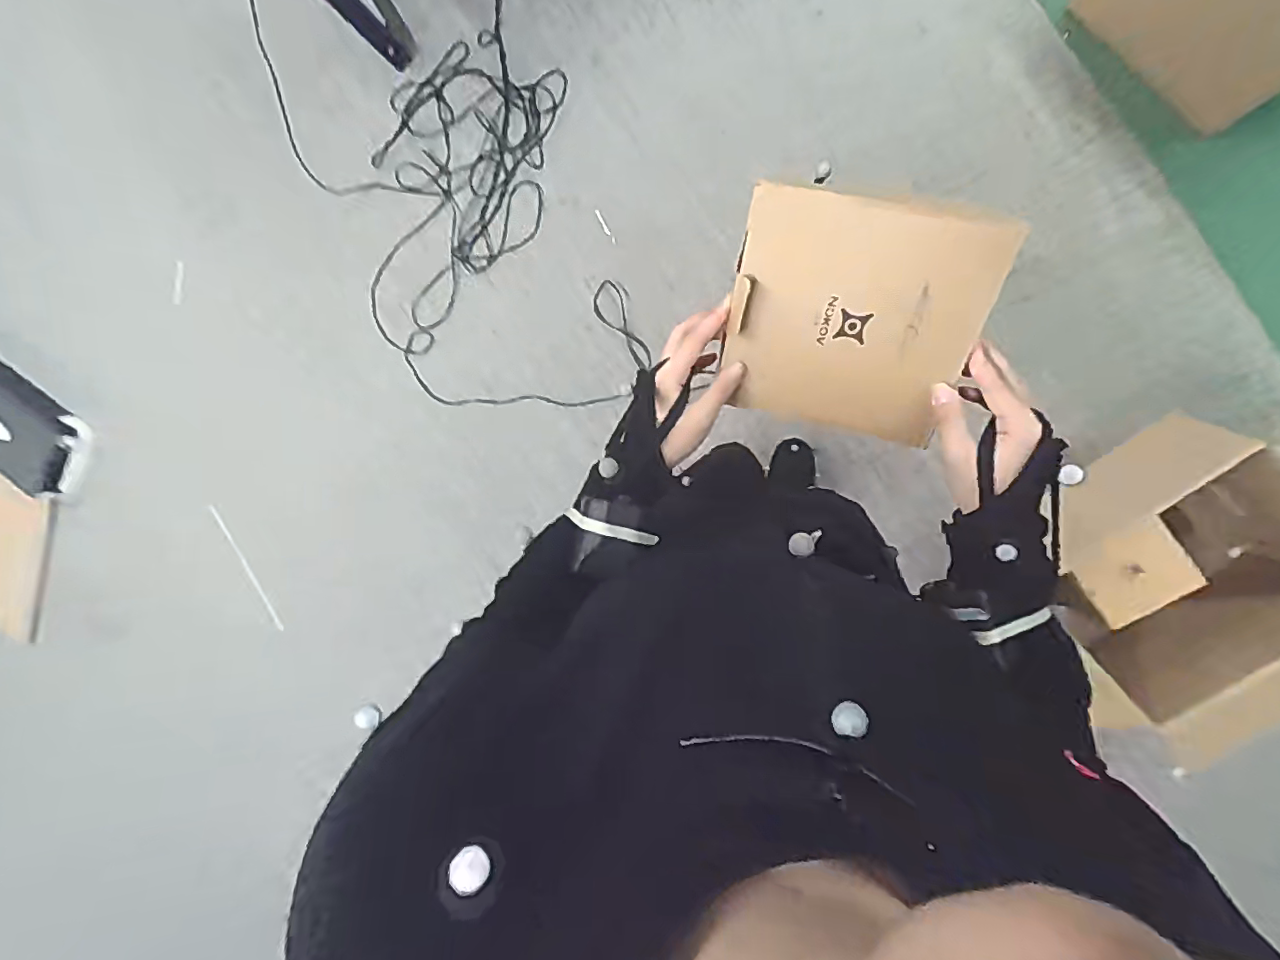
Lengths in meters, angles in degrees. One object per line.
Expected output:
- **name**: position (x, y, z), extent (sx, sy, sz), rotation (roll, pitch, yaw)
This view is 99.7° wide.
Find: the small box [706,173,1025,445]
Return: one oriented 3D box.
- **small box**: position (0.165, -0.153, 0.453), extent (0.179, 0.176, 0.168), rotation (13, 124, 9)
